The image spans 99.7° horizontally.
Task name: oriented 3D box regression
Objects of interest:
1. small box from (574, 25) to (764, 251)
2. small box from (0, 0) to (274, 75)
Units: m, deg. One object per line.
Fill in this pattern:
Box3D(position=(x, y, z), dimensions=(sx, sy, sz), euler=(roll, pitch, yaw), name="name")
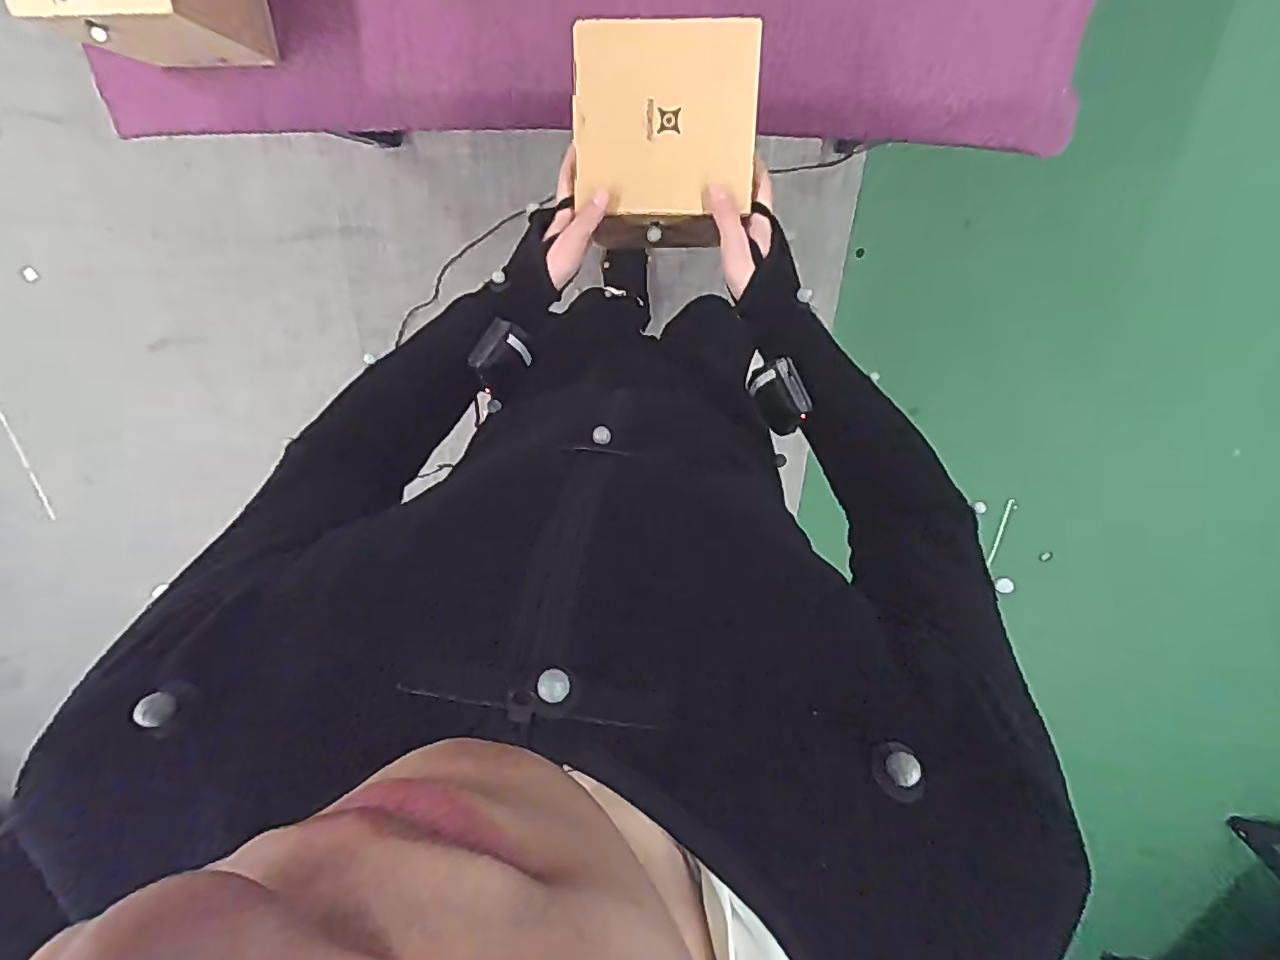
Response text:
Box3D(position=(0.029, -0.352, 0.587), dimensions=(0.179, 0.176, 0.168), euler=(2, 103, 4), name="small box")
Box3D(position=(-0.528, -0.551, 0.561), dimensions=(0.168, 0.176, 0.179), euler=(0, 114, 2), name="small box")
